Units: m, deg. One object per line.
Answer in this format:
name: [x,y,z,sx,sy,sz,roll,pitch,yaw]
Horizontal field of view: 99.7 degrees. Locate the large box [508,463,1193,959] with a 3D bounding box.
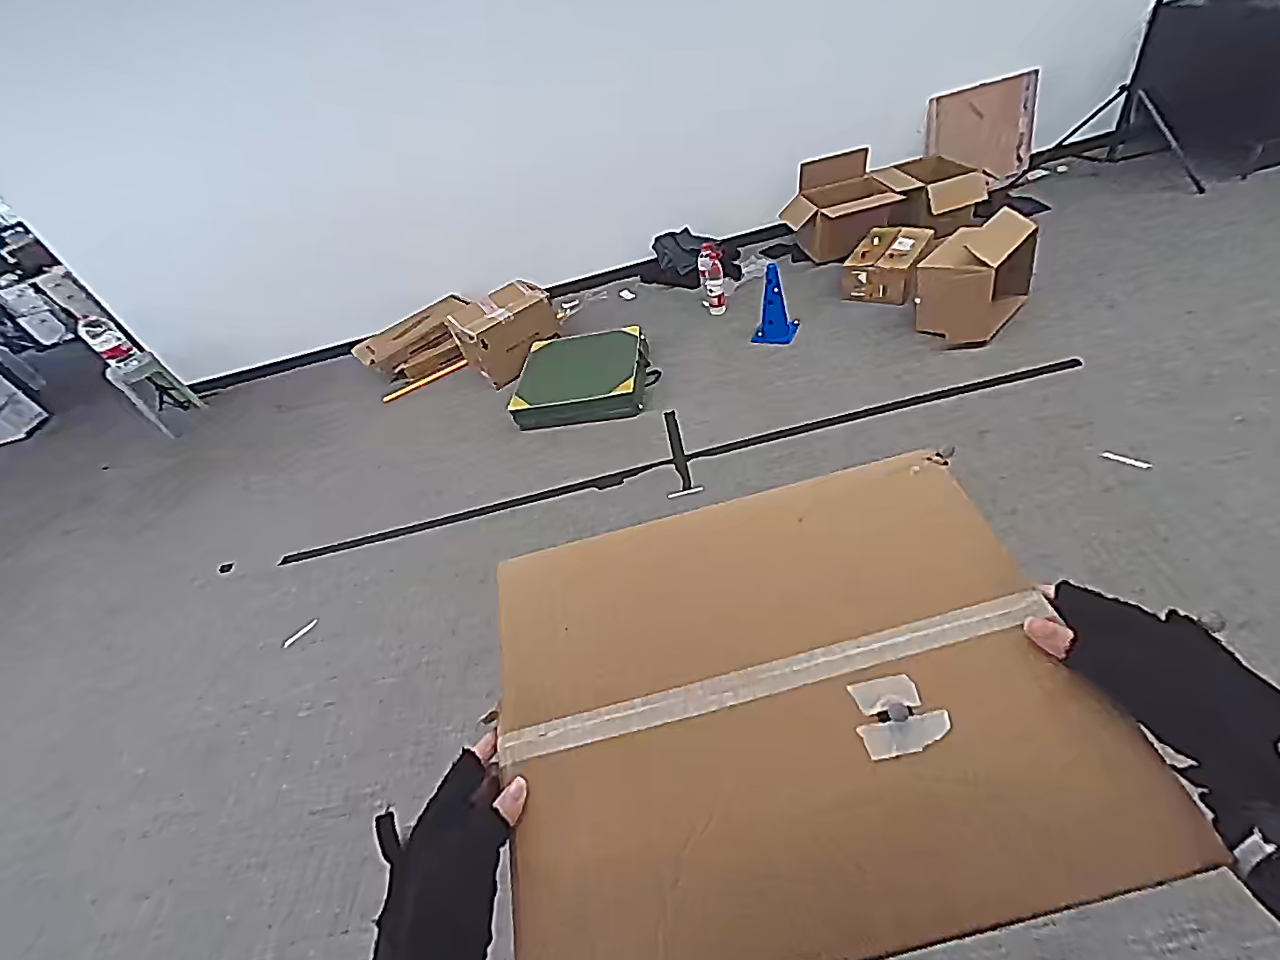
large box: [0.124,0.240,0.520,0.408,0.320,0.320,-15,53,-1]
